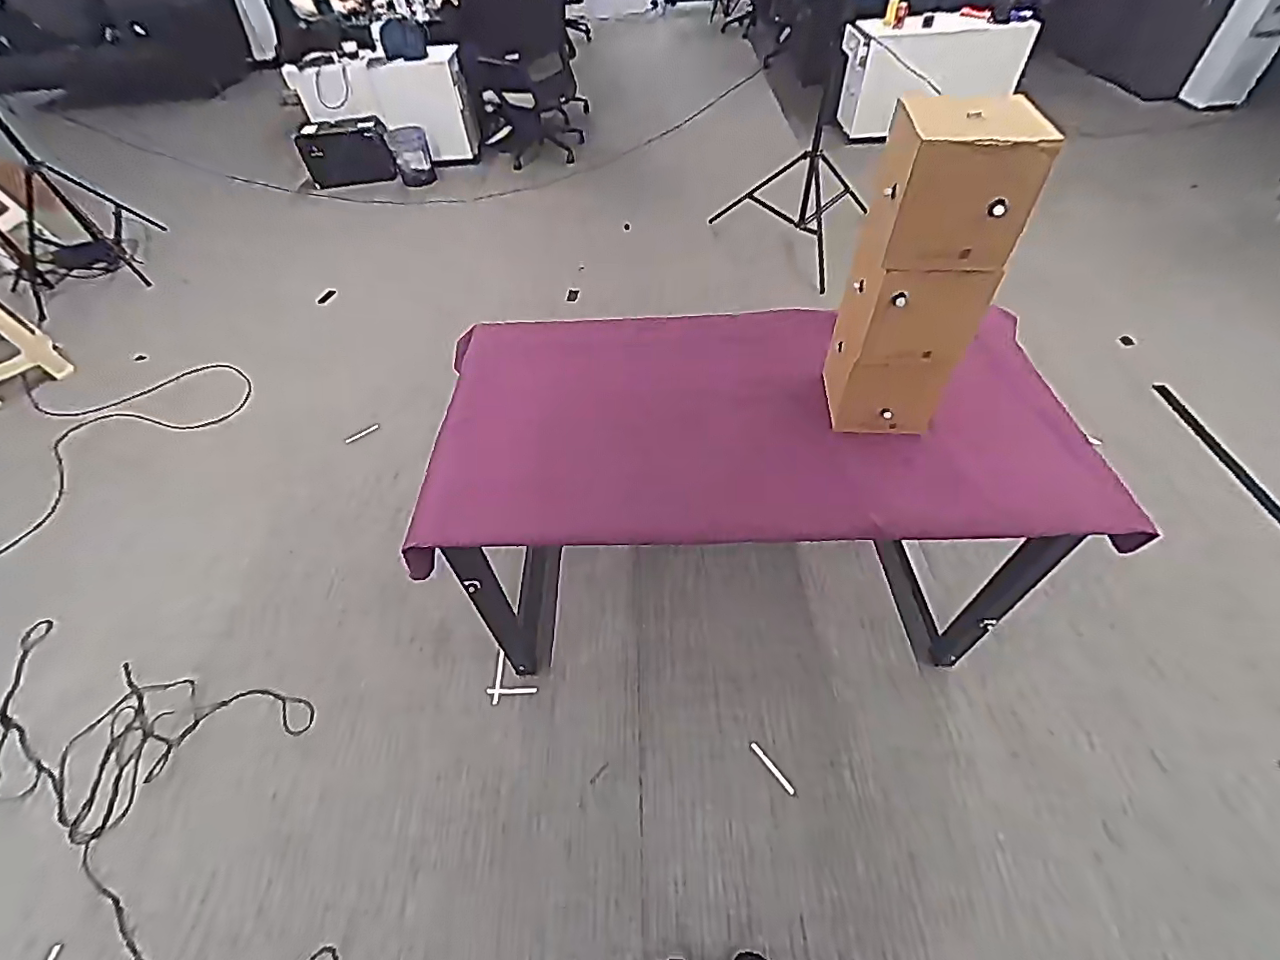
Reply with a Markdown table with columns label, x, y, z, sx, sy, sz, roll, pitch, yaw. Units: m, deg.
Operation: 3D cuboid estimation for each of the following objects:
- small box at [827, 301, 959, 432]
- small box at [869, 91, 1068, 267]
| label | x | y | z | sx | sy | sz | roll | pitch | yaw |
| --- | --- | --- | --- | --- | --- | --- | --- | --- | --- |
| small box | 0.455 | -0.211 | 1.006 | 0.168 | 0.176 | 0.179 | 2 | 51 | 7 |
| small box | 0.433 | -0.414 | 0.750 | 0.168 | 0.176 | 0.179 | 4 | 50 | 6 |
